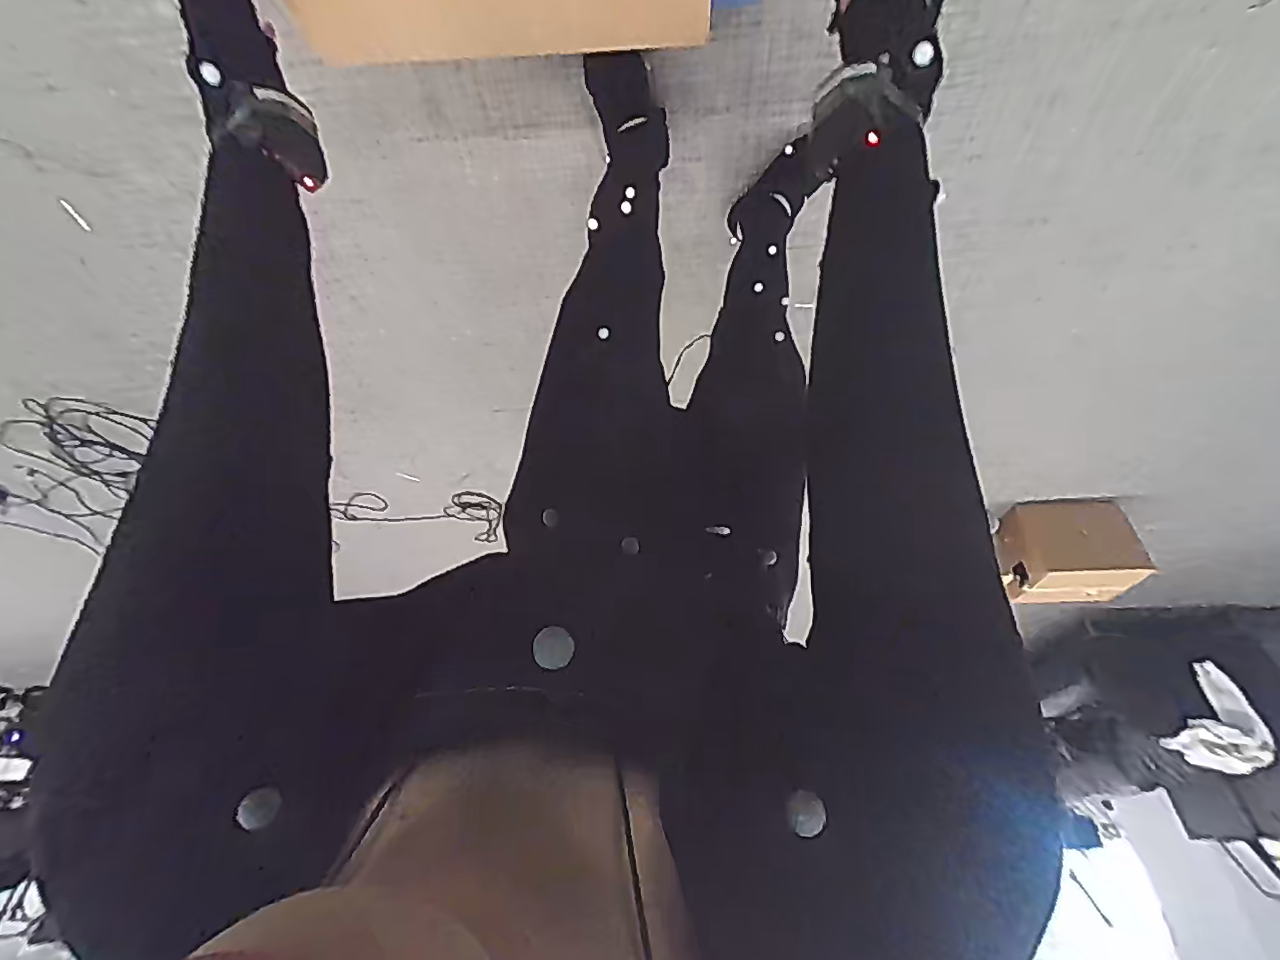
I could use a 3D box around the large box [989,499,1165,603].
[{"bbox_3d":[1.754,0.294,2.216,0.408,0.320,0.320,-3,146,3],"label":"large box"}]
